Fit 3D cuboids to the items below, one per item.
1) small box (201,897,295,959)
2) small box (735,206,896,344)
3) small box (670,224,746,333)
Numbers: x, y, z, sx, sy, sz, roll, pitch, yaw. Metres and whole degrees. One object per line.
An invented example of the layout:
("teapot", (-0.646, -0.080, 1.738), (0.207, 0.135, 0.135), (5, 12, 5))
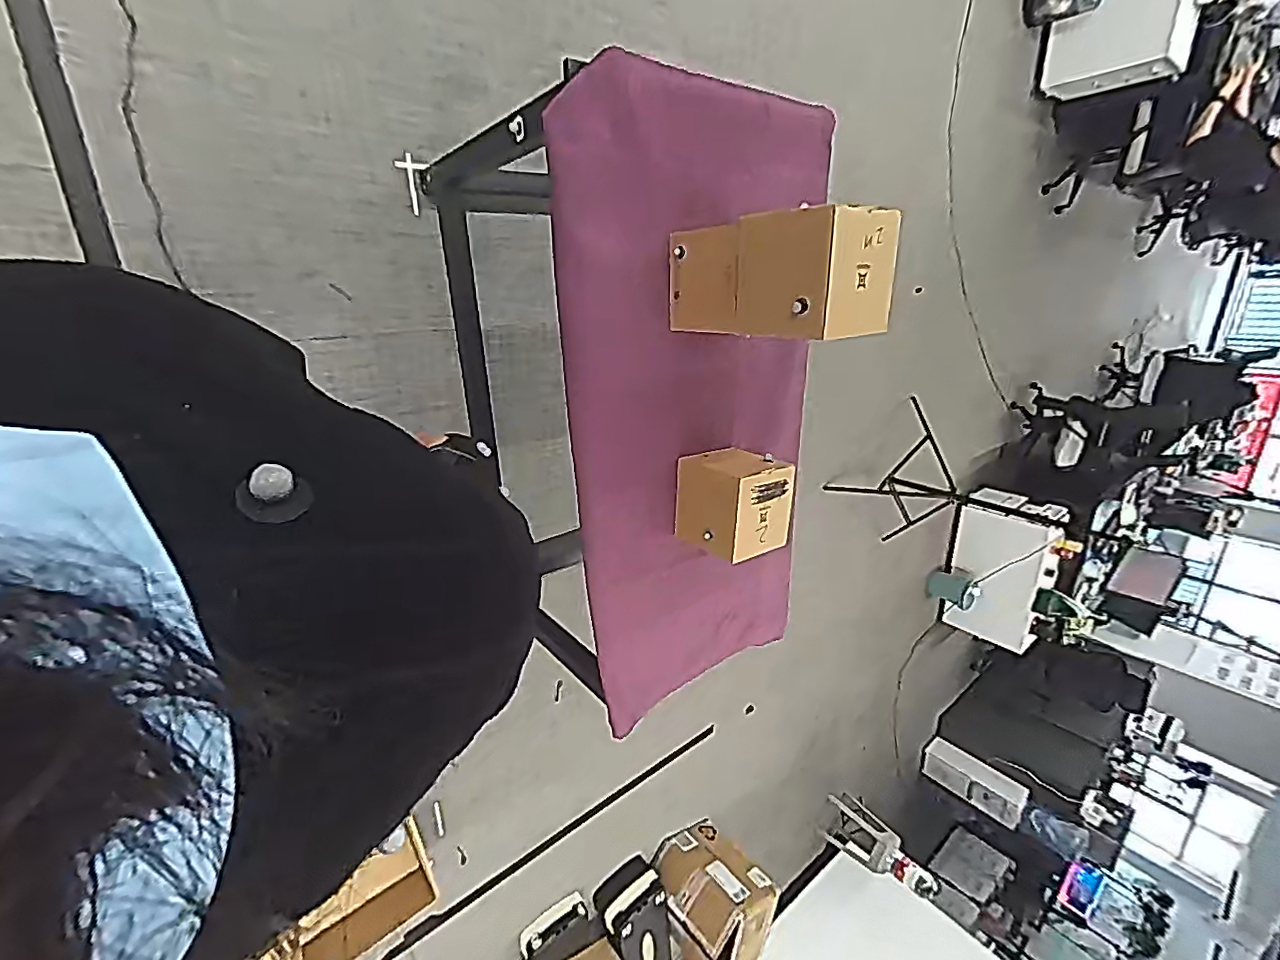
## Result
("small box", (-1.019, 1.256, 1.413), (0.168, 0.176, 0.179), (-21, 117, -34))
("small box", (0.262, -0.311, 0.833), (0.168, 0.176, 0.179), (-16, 115, -35))
("small box", (0.167, -0.352, 0.962), (0.179, 0.176, 0.168), (-16, 114, -36))
